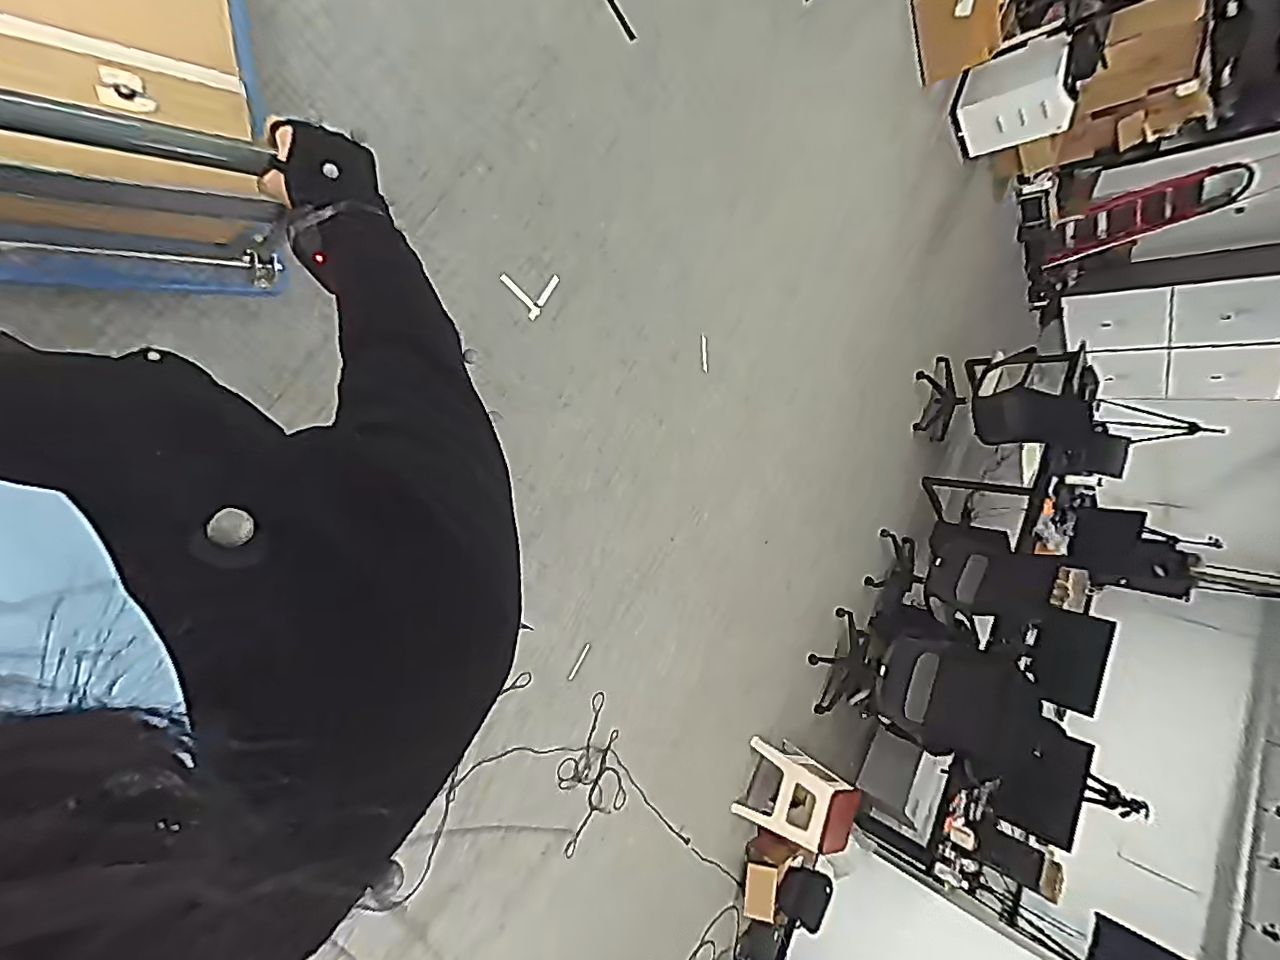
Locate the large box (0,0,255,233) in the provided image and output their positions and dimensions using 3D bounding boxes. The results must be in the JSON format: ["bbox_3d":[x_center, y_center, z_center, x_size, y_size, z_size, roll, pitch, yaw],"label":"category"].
[{"bbox_3d":[-0.845,-0.571,0.770,0.408,0.320,0.320,-13,106,-43],"label":"large box"}]
